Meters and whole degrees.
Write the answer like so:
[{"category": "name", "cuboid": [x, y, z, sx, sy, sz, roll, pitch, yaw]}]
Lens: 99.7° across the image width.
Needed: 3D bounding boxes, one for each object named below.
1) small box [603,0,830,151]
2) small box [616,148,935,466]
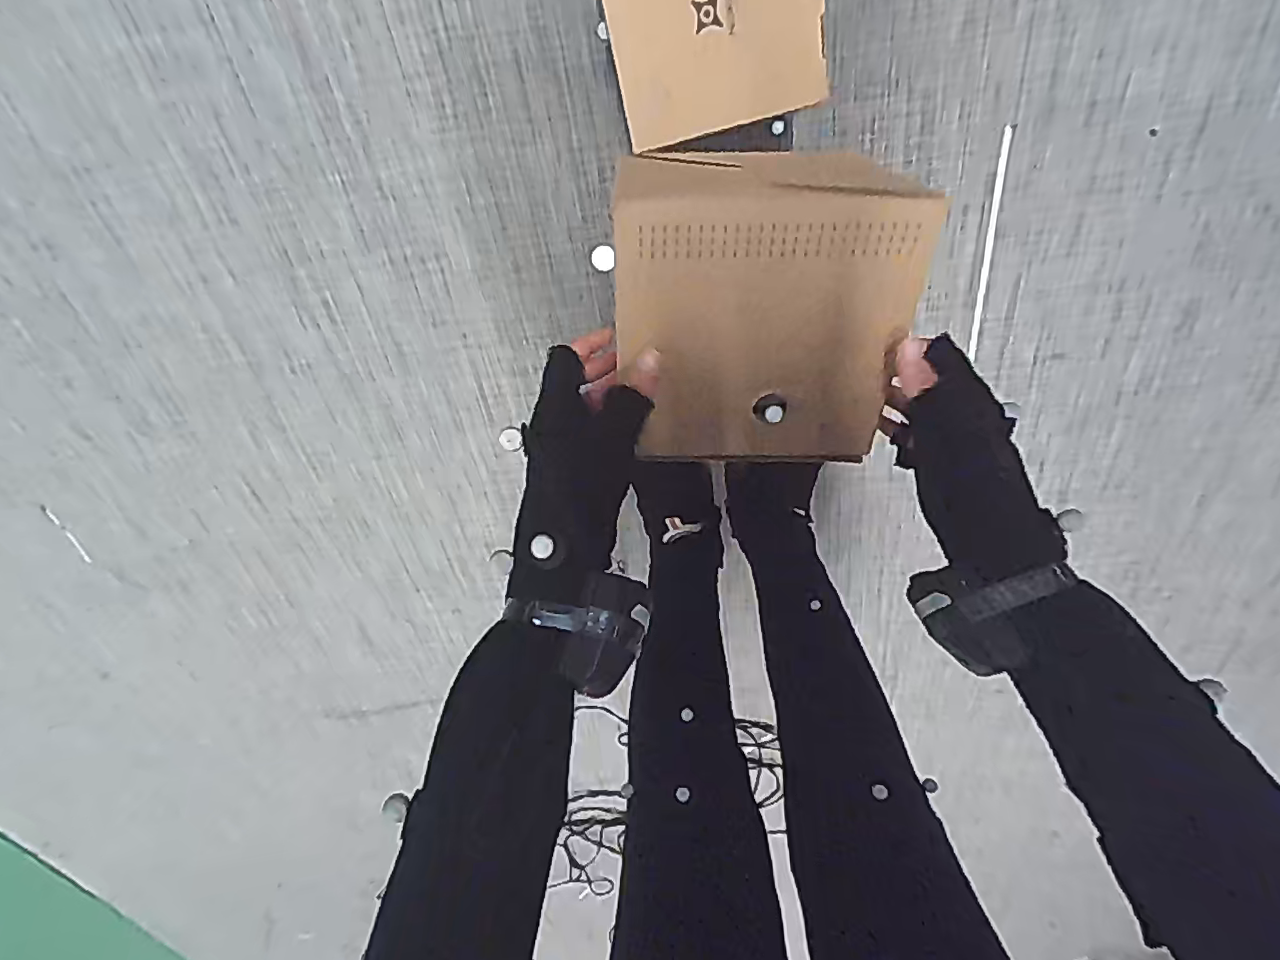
[{"category": "small box", "cuboid": [0.067, -0.420, 0.510, 0.179, 0.176, 0.168, -10, 119, 9]}, {"category": "small box", "cuboid": [0.075, -0.127, 0.389, 0.179, 0.168, 0.176, 0, 131, 0]}]
